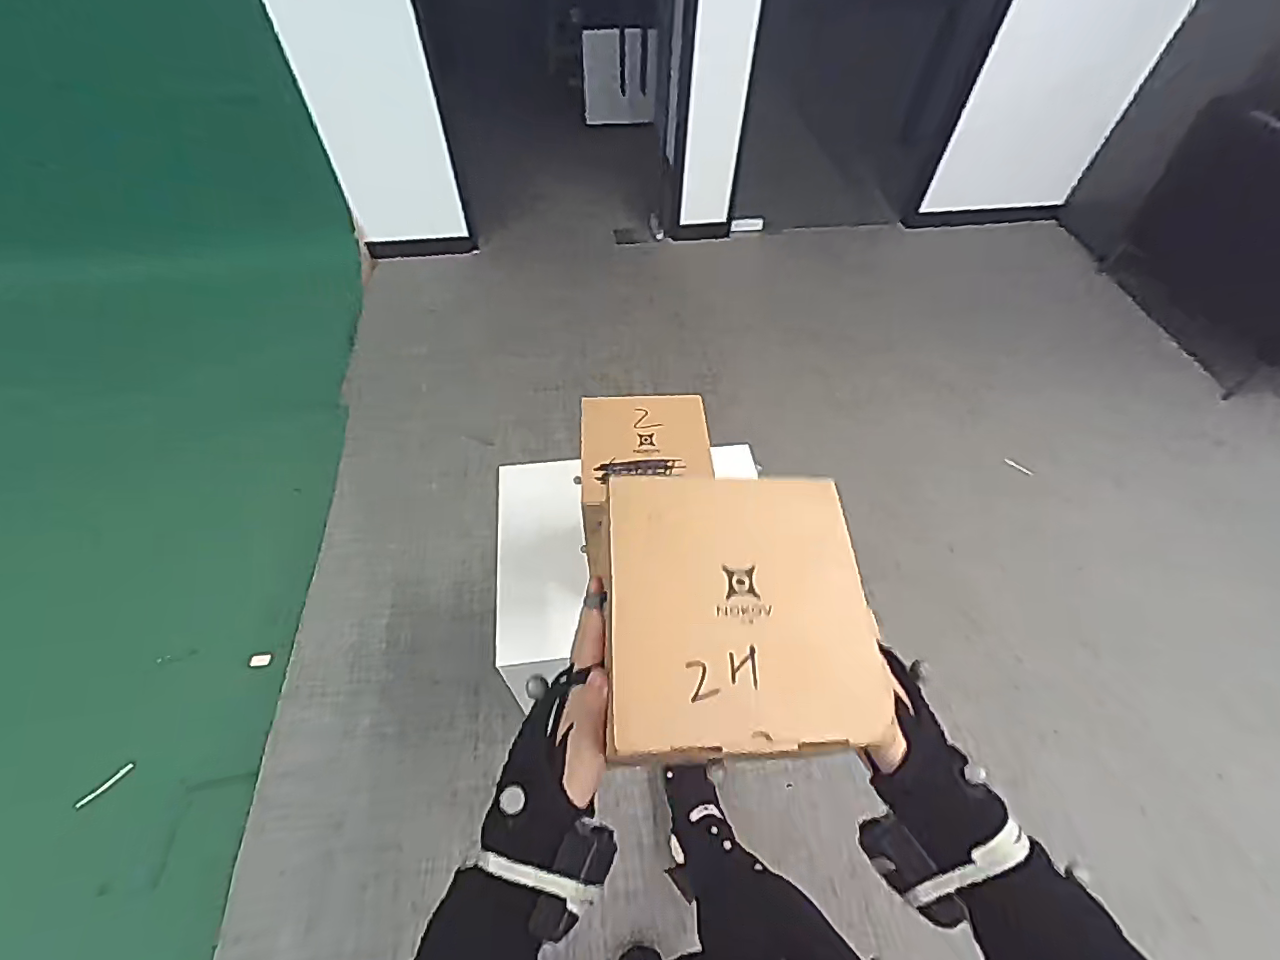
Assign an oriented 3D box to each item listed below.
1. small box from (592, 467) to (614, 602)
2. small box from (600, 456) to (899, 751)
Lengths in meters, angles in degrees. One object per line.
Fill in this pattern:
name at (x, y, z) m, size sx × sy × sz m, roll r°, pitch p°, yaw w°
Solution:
small box at (0.009, 0.097, 0.884) m, size 0.168 × 0.176 × 0.179 m, roll -1°, pitch 54°, yaw -2°
small box at (0.056, 0.099, 0.410) m, size 0.168 × 0.176 × 0.179 m, roll 0°, pitch 60°, yaw -6°
